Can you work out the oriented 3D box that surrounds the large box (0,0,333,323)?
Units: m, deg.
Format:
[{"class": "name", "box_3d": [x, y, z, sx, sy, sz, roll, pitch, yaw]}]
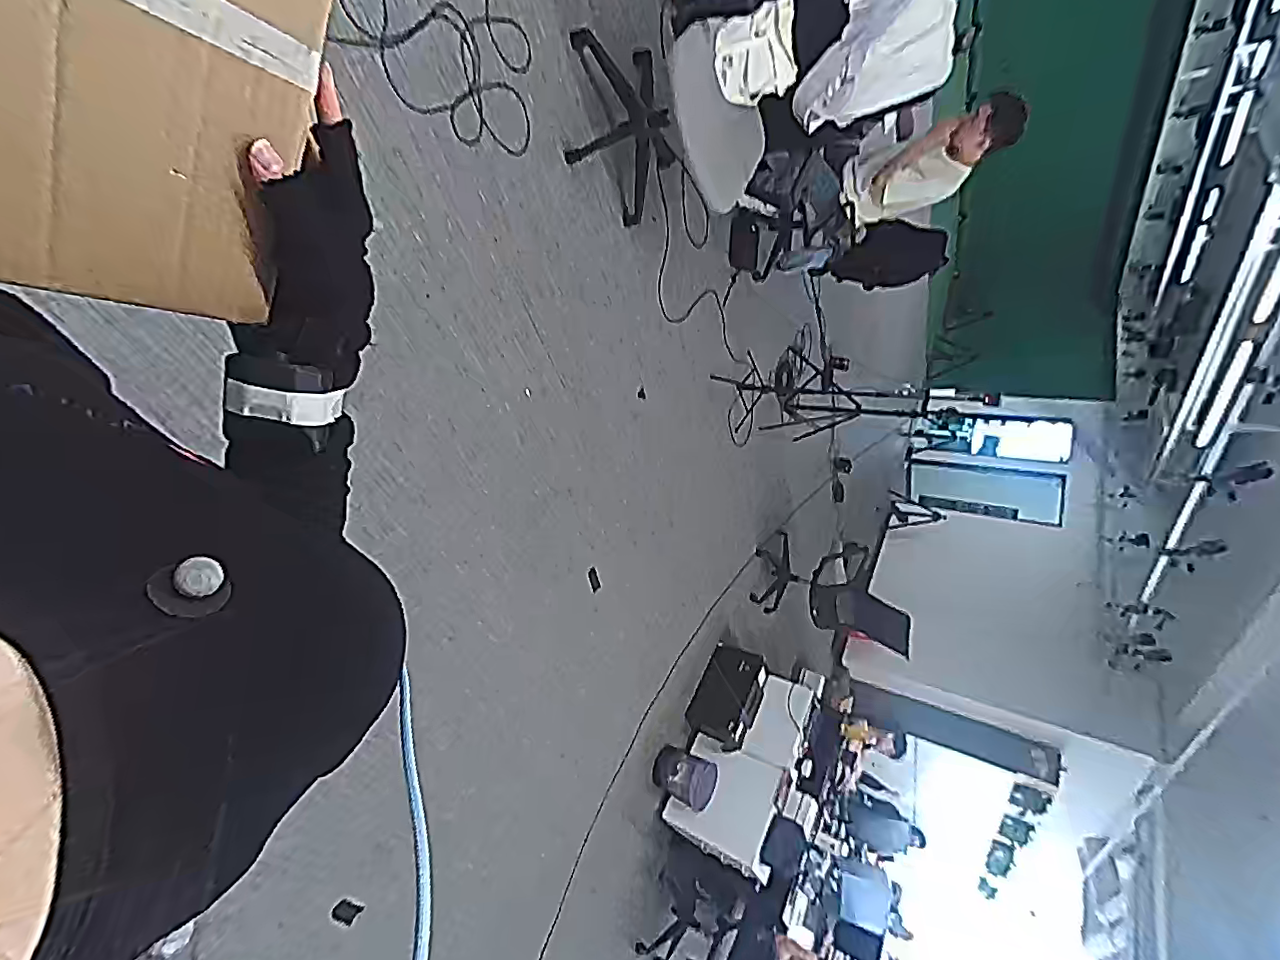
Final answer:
[{"class": "large box", "box_3d": [-0.414, -0.308, 0.235, 0.408, 0.320, 0.320, -2, 128, -52]}]
